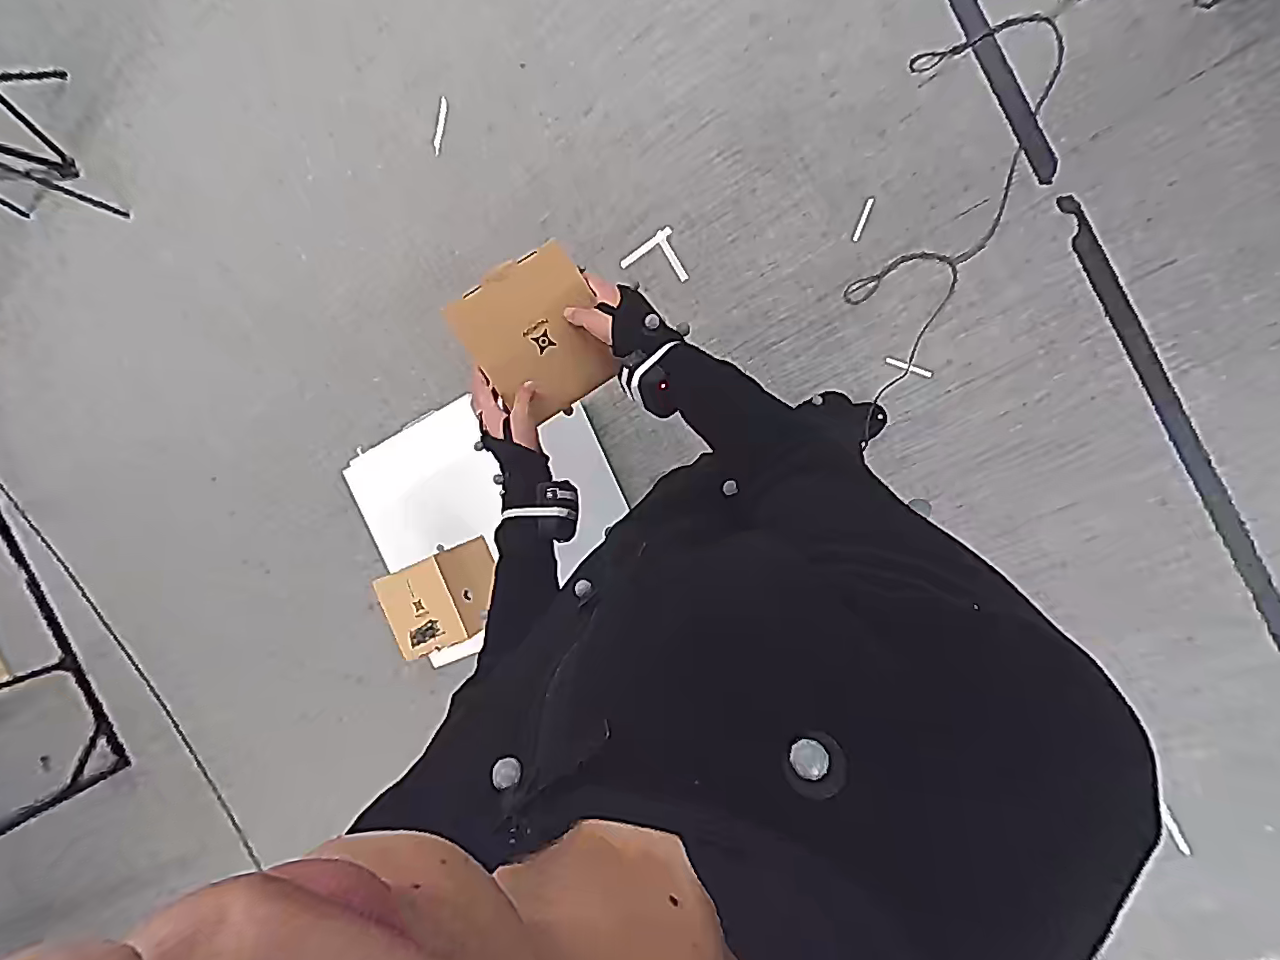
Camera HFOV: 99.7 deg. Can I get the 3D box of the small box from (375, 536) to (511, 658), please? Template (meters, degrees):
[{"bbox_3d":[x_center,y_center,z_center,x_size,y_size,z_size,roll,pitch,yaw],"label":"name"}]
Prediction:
[{"bbox_3d":[-0.397,0.235,1.119,0.168,0.176,0.179,-23,90,19],"label":"small box"}]

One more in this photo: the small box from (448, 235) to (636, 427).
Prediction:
[{"bbox_3d":[-0.125,-0.192,0.729,0.168,0.176,0.179,-33,103,-2],"label":"small box"}]
